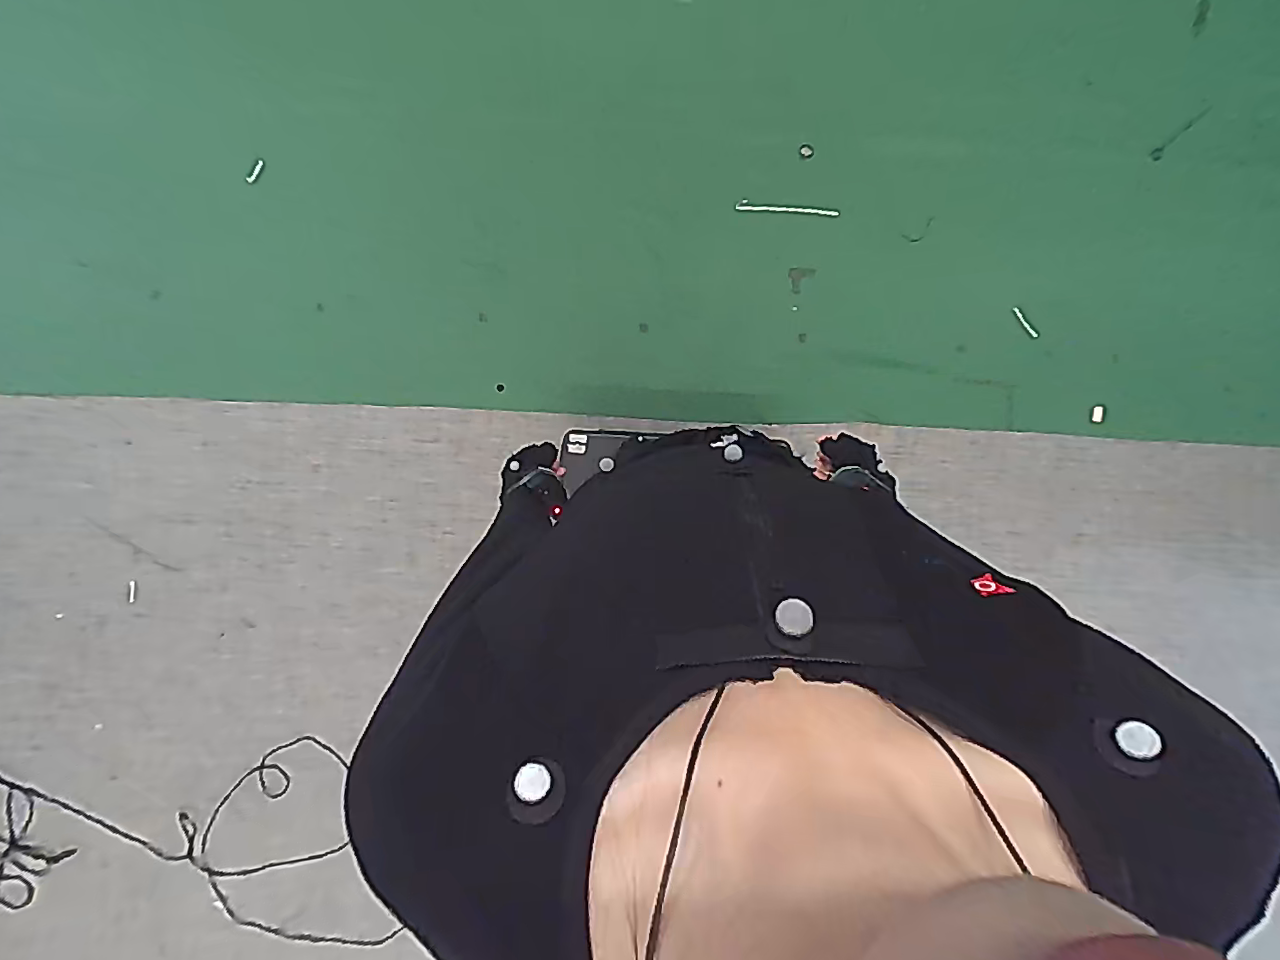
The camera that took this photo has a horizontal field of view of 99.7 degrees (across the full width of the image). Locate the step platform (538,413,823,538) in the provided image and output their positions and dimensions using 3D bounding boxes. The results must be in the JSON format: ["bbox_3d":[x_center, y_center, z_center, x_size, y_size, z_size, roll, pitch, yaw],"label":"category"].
[{"bbox_3d":[0.095,-0.015,1.383,0.684,0.204,0.286,2,94,0],"label":"step platform"}]
